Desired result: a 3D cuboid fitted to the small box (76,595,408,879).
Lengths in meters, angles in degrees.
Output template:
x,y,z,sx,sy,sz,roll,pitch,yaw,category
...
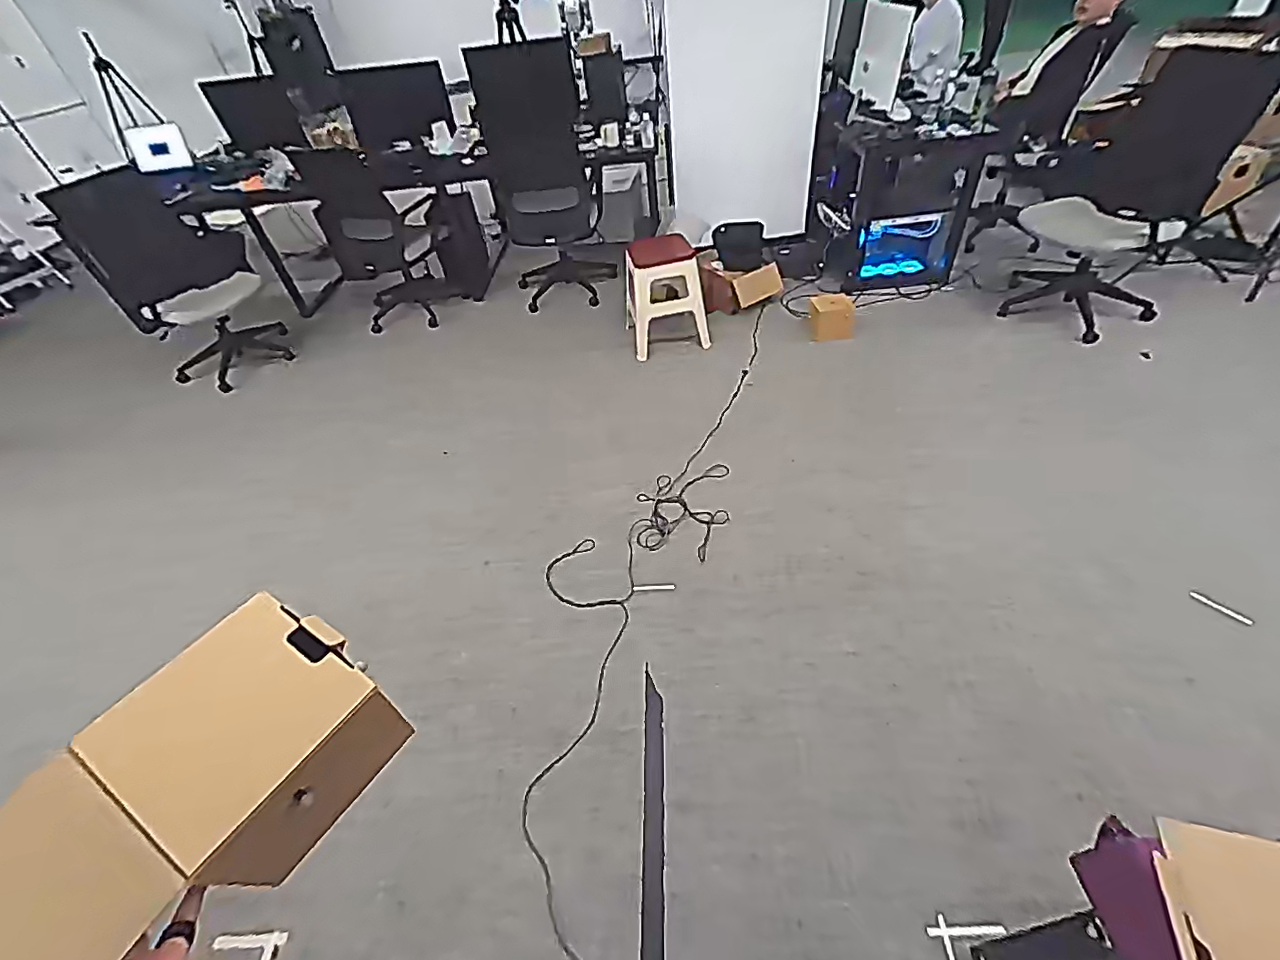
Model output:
x,y,z,sx,sy,sz,roll,pitch,yaw,category
-0.362,0.256,0.533,0.168,0.176,0.179,31,54,15,small box
